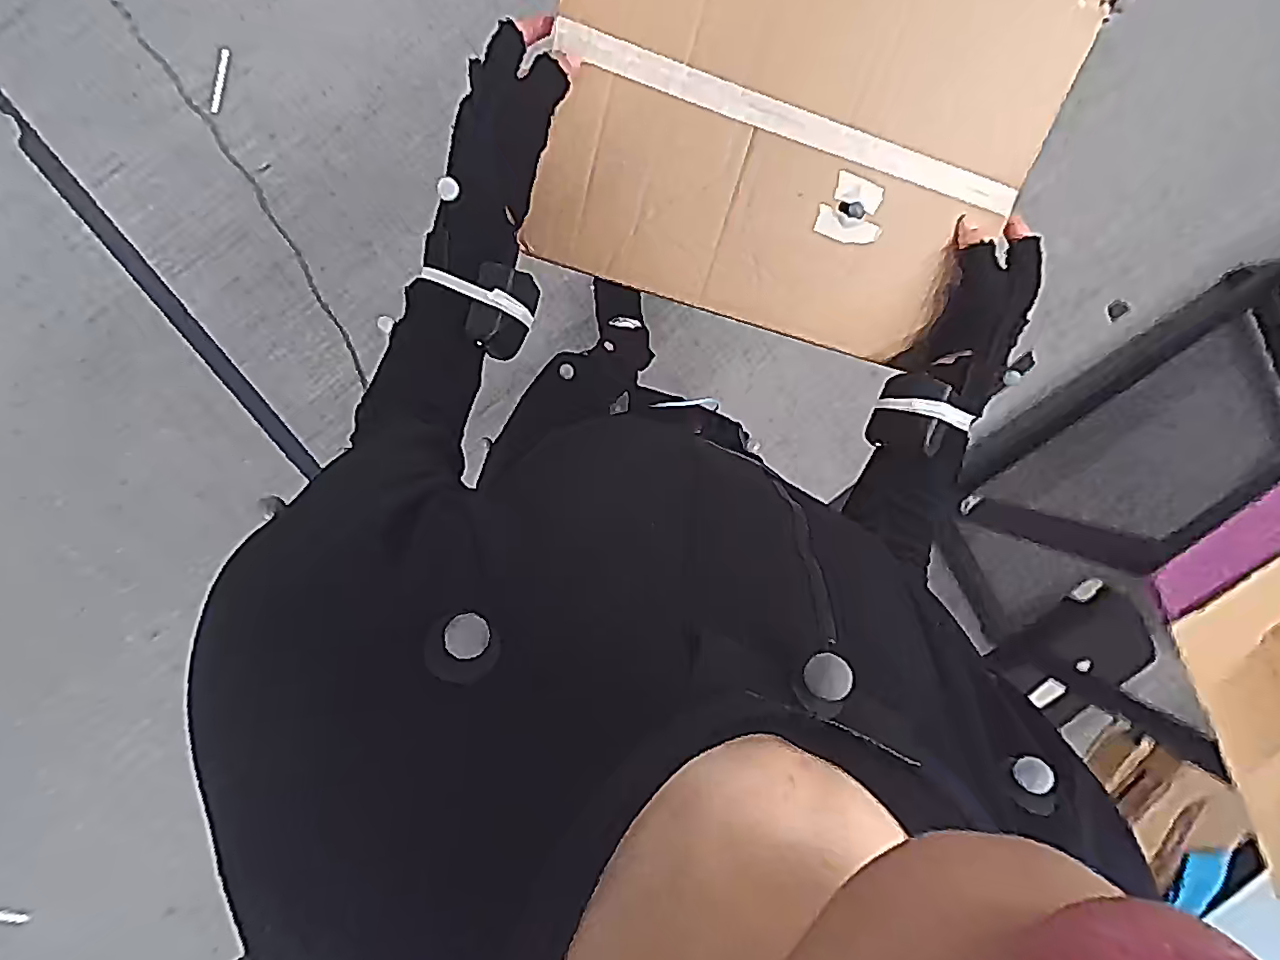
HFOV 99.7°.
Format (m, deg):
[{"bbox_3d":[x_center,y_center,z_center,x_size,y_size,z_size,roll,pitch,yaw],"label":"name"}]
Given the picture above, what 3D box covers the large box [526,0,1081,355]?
[{"bbox_3d":[0.114,-0.361,0.590,0.408,0.320,0.320,13,113,-10],"label":"large box"}]
